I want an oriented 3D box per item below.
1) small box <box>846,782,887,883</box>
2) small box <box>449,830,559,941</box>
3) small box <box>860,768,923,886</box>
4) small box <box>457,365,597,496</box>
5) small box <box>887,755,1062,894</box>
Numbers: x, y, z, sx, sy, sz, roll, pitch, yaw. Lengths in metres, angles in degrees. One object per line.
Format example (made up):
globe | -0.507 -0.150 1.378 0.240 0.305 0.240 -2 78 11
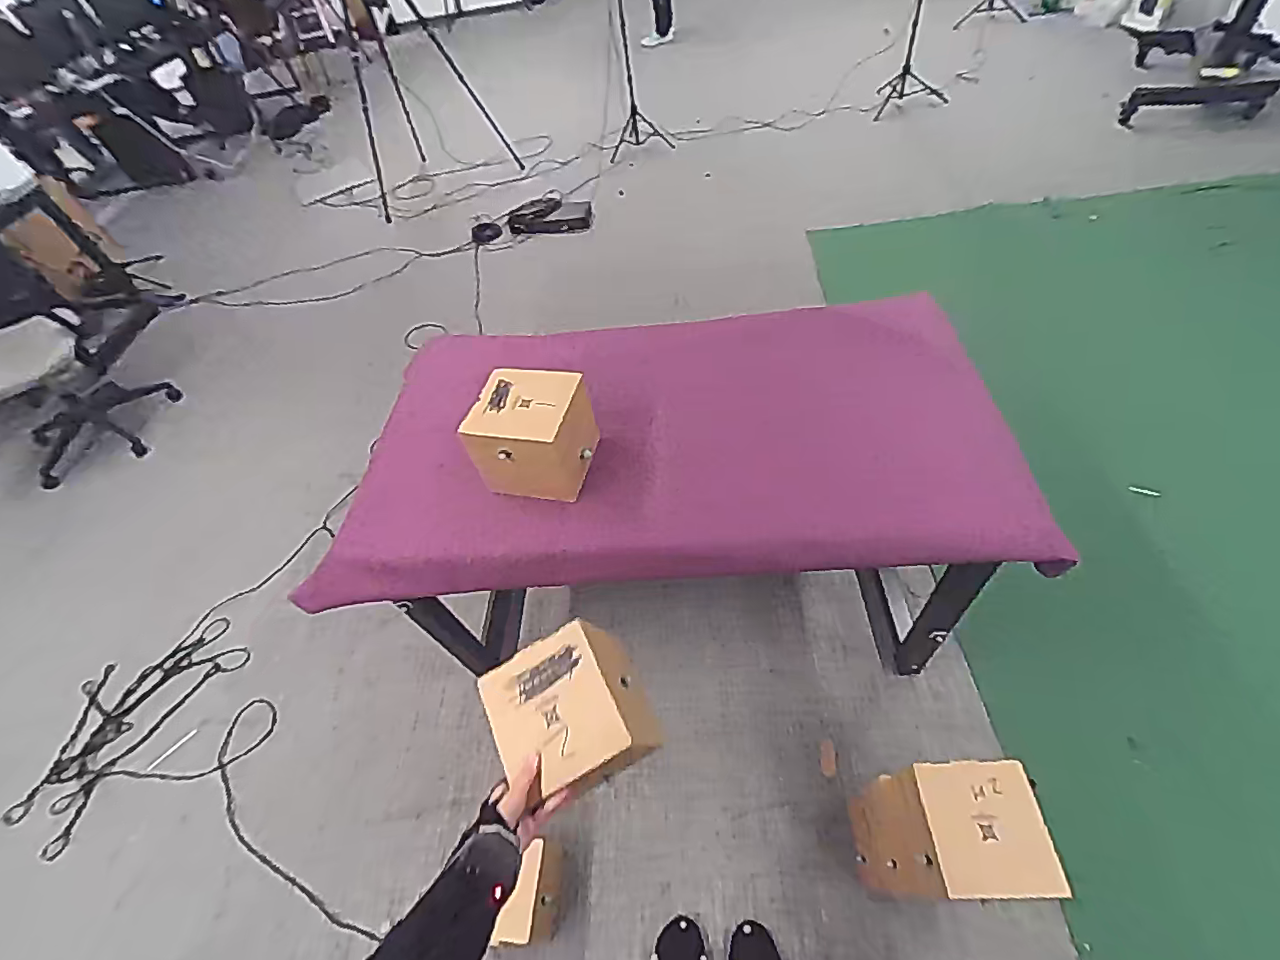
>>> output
small box | 0.542 0.745 1.138 0.179 0.176 0.168 -3 52 7
small box | -0.284 0.875 1.175 0.168 0.176 0.179 -1 53 8
small box | 0.527 0.648 1.009 0.168 0.176 0.179 -5 53 5
small box | -0.194 -0.087 0.984 0.179 0.176 0.168 7 54 14
small box | 0.520 0.554 0.872 0.168 0.176 0.179 -4 54 5
